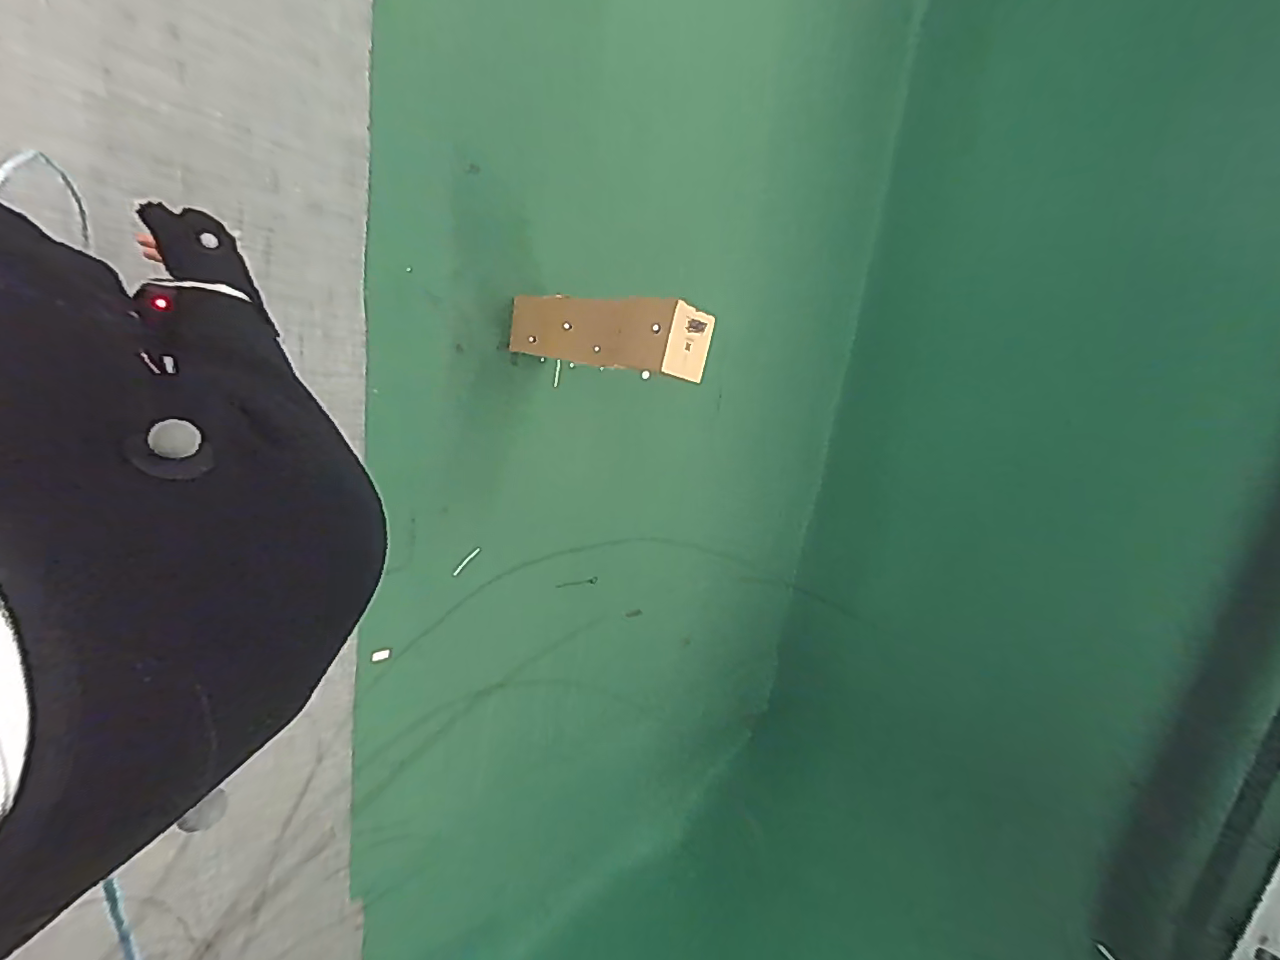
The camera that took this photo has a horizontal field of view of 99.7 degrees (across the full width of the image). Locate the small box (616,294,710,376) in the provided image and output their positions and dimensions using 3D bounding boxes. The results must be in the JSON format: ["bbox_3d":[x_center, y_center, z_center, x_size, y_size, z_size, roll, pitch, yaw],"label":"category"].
[{"bbox_3d":[0.057,-0.379,1.409,0.168,0.176,0.179,-1,105,-49],"label":"small box"}]

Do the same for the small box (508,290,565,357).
[{"bbox_3d":[-0.303,-0.497,1.723,0.168,0.176,0.179,-5,109,-49],"label":"small box"}]

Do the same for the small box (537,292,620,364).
[{"bbox_3d":[-0.188,-0.453,1.616,0.168,0.176,0.179,-3,107,-49],"label":"small box"}]
